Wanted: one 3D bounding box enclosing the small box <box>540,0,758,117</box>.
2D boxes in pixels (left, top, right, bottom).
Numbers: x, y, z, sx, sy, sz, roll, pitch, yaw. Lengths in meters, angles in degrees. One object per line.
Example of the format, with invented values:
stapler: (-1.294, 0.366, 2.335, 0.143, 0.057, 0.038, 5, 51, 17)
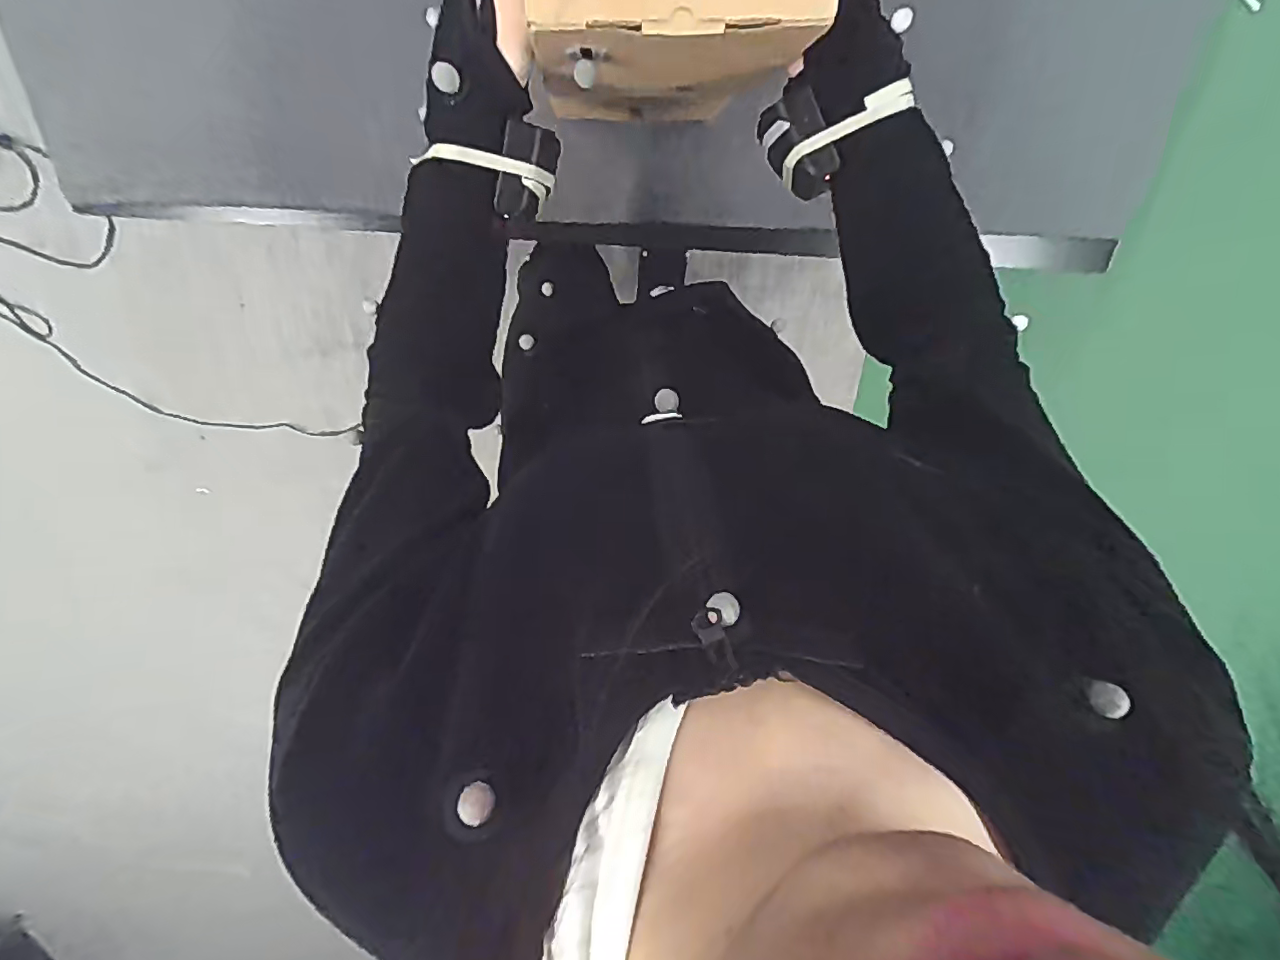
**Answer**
small box: (0.001, -0.428, 0.455, 0.168, 0.176, 0.179, -2, 115, -3)
